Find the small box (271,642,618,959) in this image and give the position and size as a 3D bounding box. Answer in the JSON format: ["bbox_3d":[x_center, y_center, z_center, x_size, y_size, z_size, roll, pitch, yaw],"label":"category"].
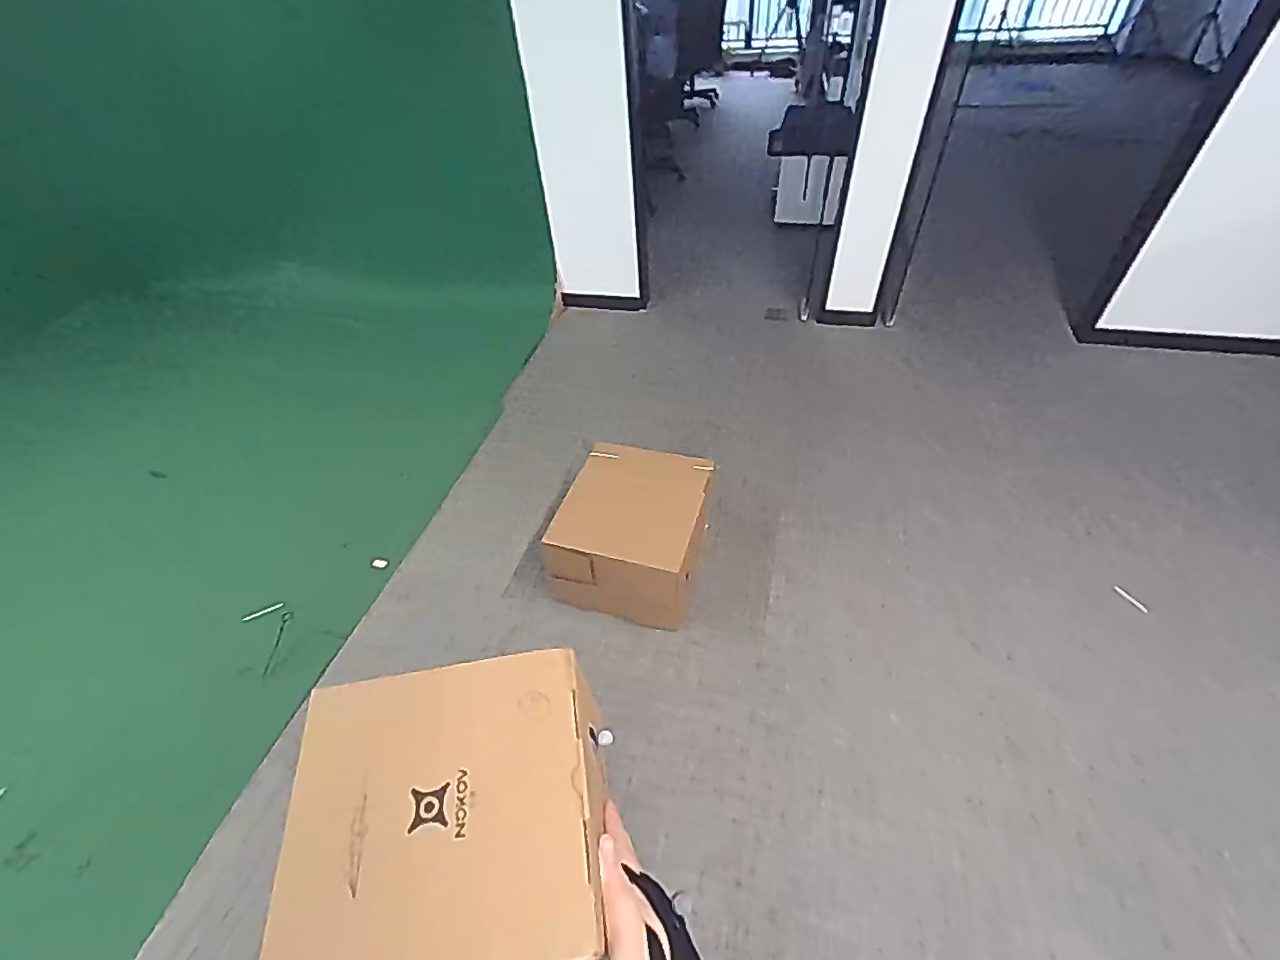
[{"bbox_3d":[-0.111,0.235,0.384,0.179,0.176,0.168,-9,52,-3],"label":"small box"}]
